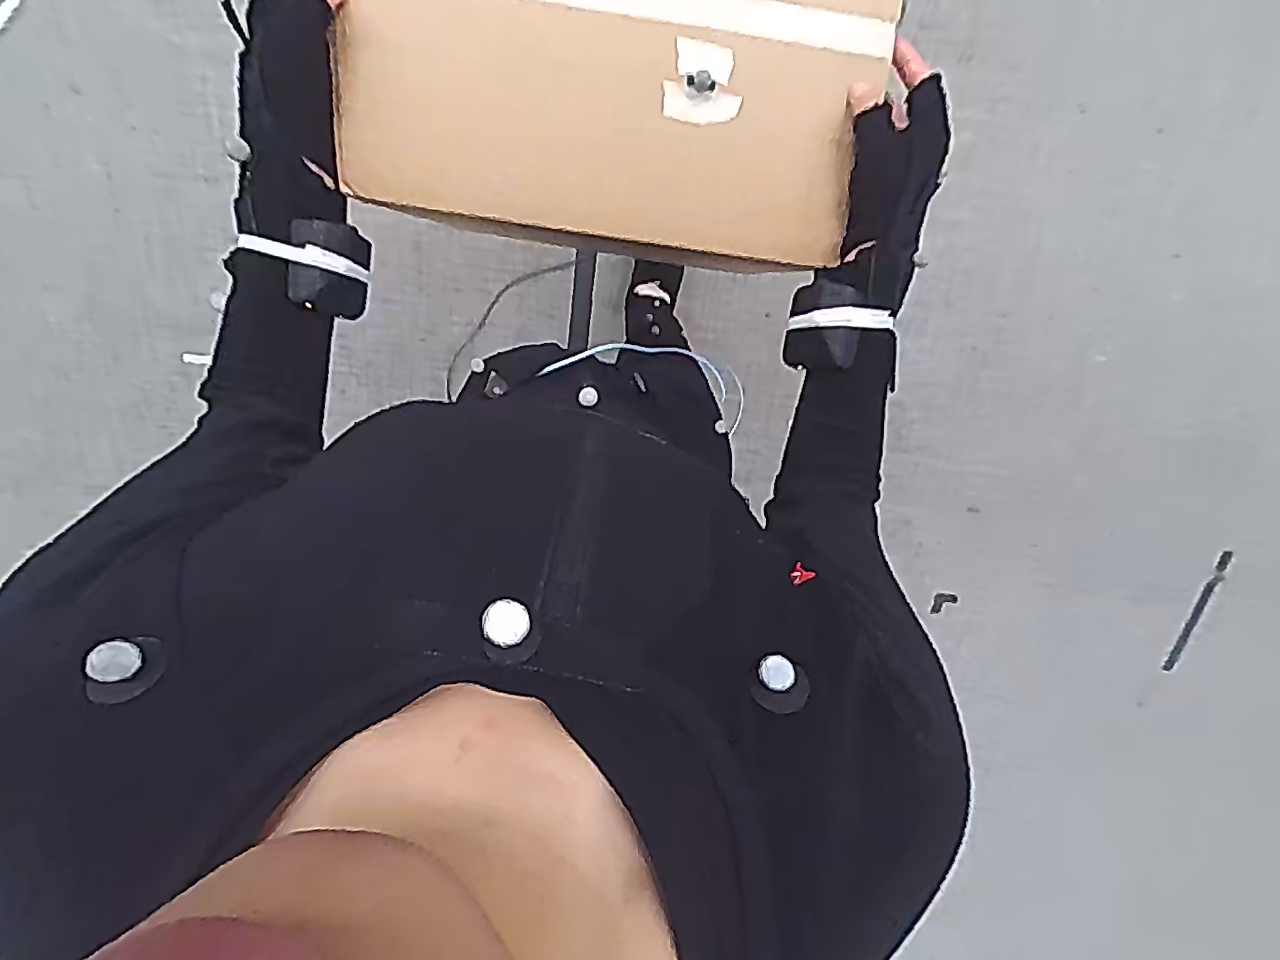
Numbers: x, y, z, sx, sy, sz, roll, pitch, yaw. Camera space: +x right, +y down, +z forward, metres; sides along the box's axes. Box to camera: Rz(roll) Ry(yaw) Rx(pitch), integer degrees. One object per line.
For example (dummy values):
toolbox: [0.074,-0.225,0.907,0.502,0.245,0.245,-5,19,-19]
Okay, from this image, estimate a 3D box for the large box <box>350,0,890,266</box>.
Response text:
large box: [-0.019,-0.406,0.540,0.408,0.320,0.320,7,110,-5]
